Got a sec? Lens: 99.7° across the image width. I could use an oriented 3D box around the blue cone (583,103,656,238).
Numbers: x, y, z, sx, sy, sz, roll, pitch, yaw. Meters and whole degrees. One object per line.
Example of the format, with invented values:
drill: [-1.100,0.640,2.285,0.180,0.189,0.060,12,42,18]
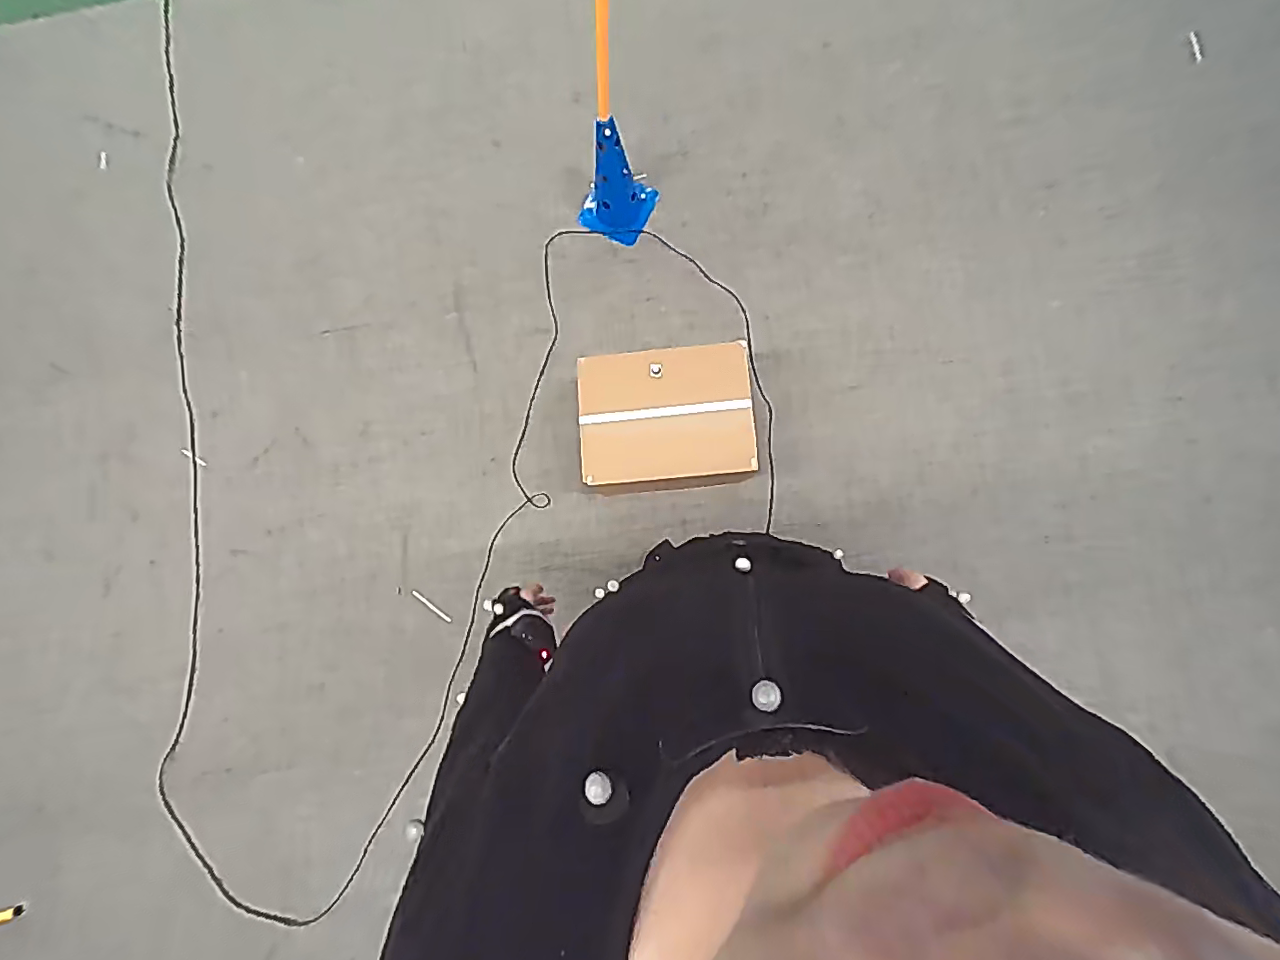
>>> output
blue cone: [-0.072,-0.860,1.472,0.192,0.380,0.193,25,84,6]
